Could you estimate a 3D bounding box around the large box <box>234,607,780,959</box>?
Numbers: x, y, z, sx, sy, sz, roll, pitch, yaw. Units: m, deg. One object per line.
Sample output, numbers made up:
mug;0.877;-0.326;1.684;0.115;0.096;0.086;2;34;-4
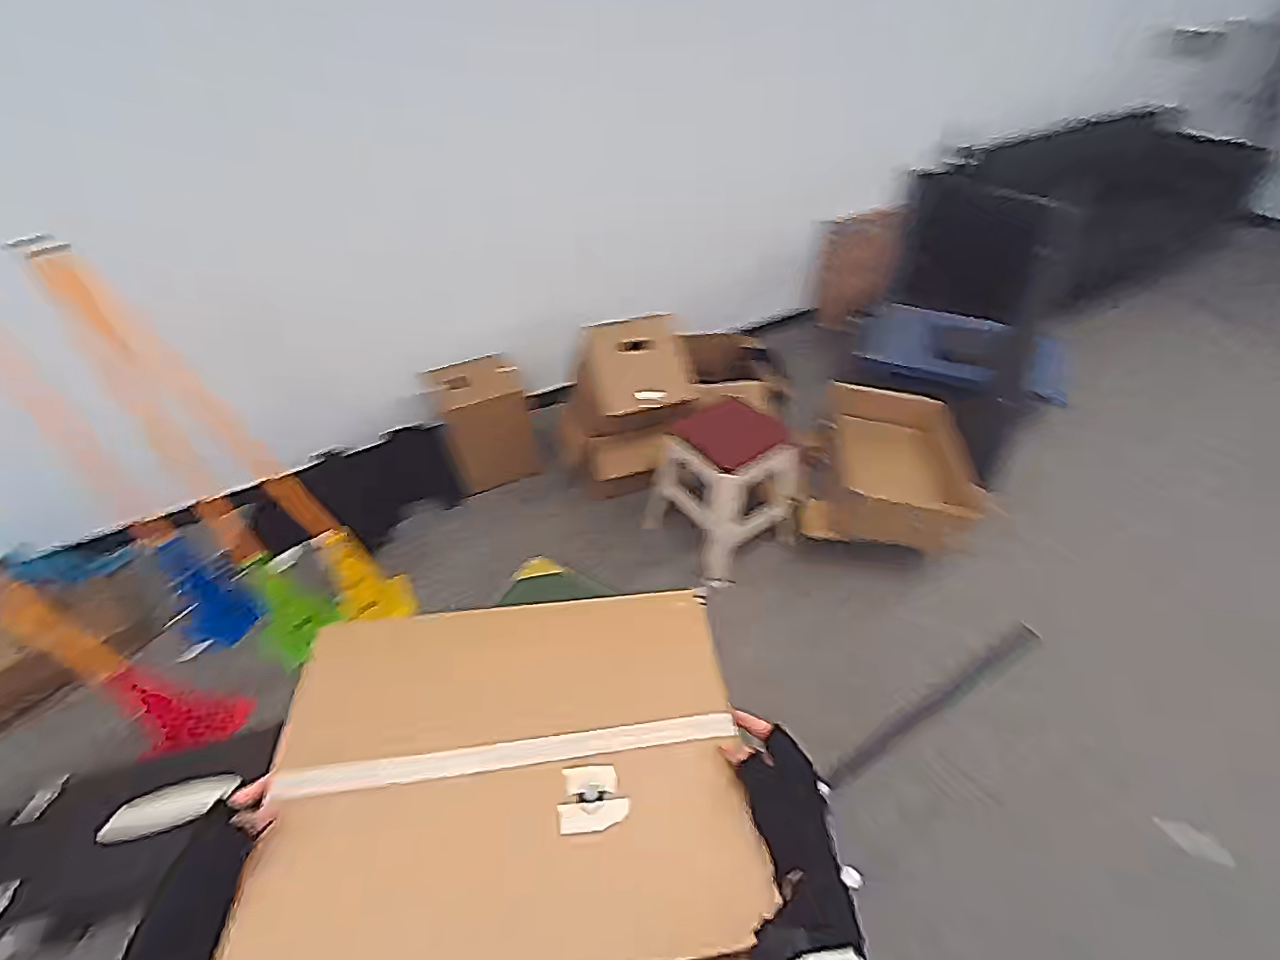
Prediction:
large box;-0.117;0.369;0.587;0.408;0.320;0.320;-3;44;-7
